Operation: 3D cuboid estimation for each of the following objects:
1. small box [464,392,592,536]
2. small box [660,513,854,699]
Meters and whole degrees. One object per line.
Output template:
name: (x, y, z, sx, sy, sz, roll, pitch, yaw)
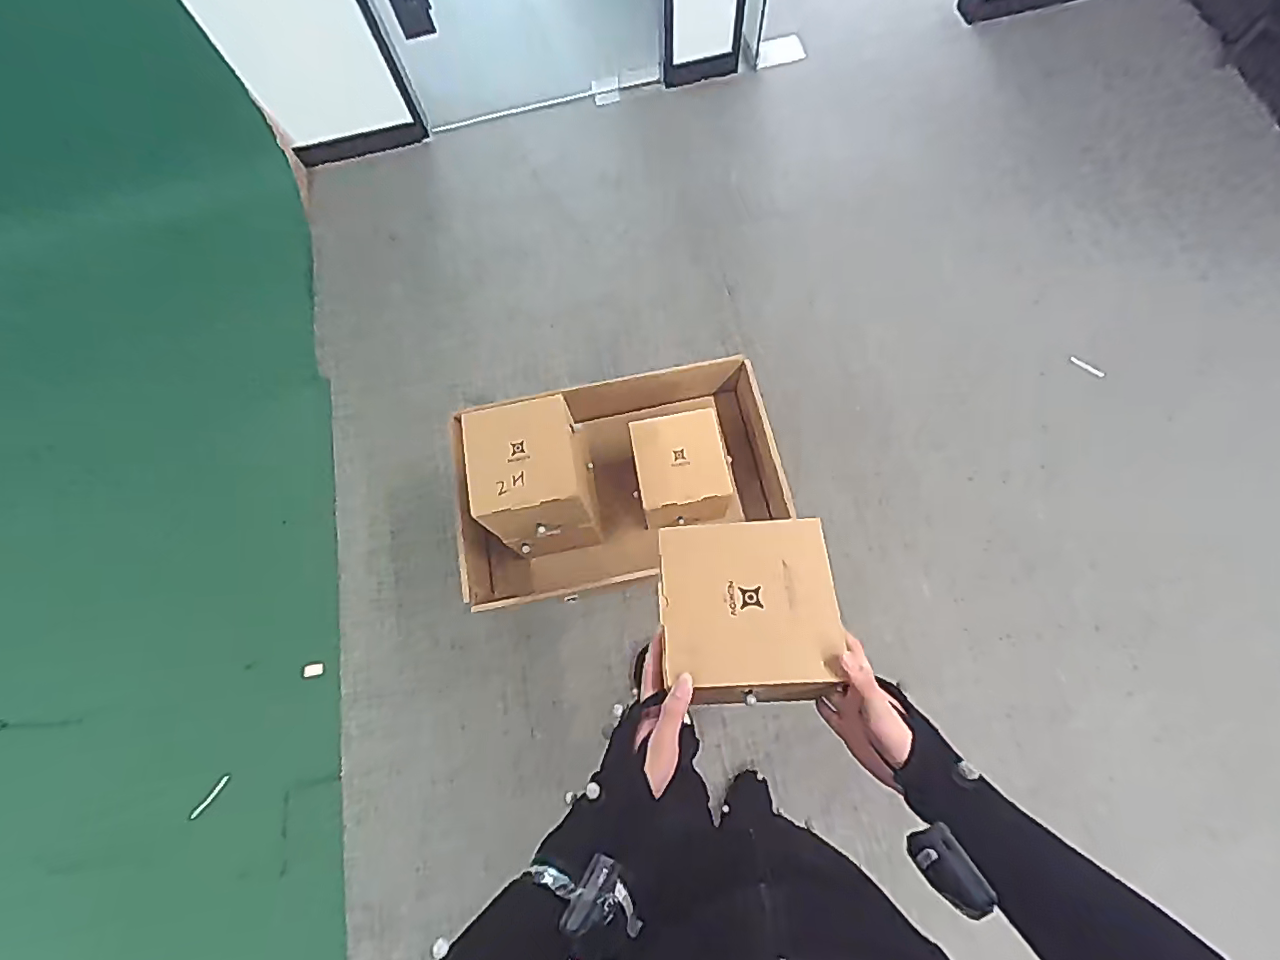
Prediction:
small box: (-0.180, -0.020, 0.898, 0.168, 0.176, 0.179, -11, 72, -1)
small box: (0.118, 0.149, 0.607, 0.179, 0.176, 0.168, -4, 63, 4)
